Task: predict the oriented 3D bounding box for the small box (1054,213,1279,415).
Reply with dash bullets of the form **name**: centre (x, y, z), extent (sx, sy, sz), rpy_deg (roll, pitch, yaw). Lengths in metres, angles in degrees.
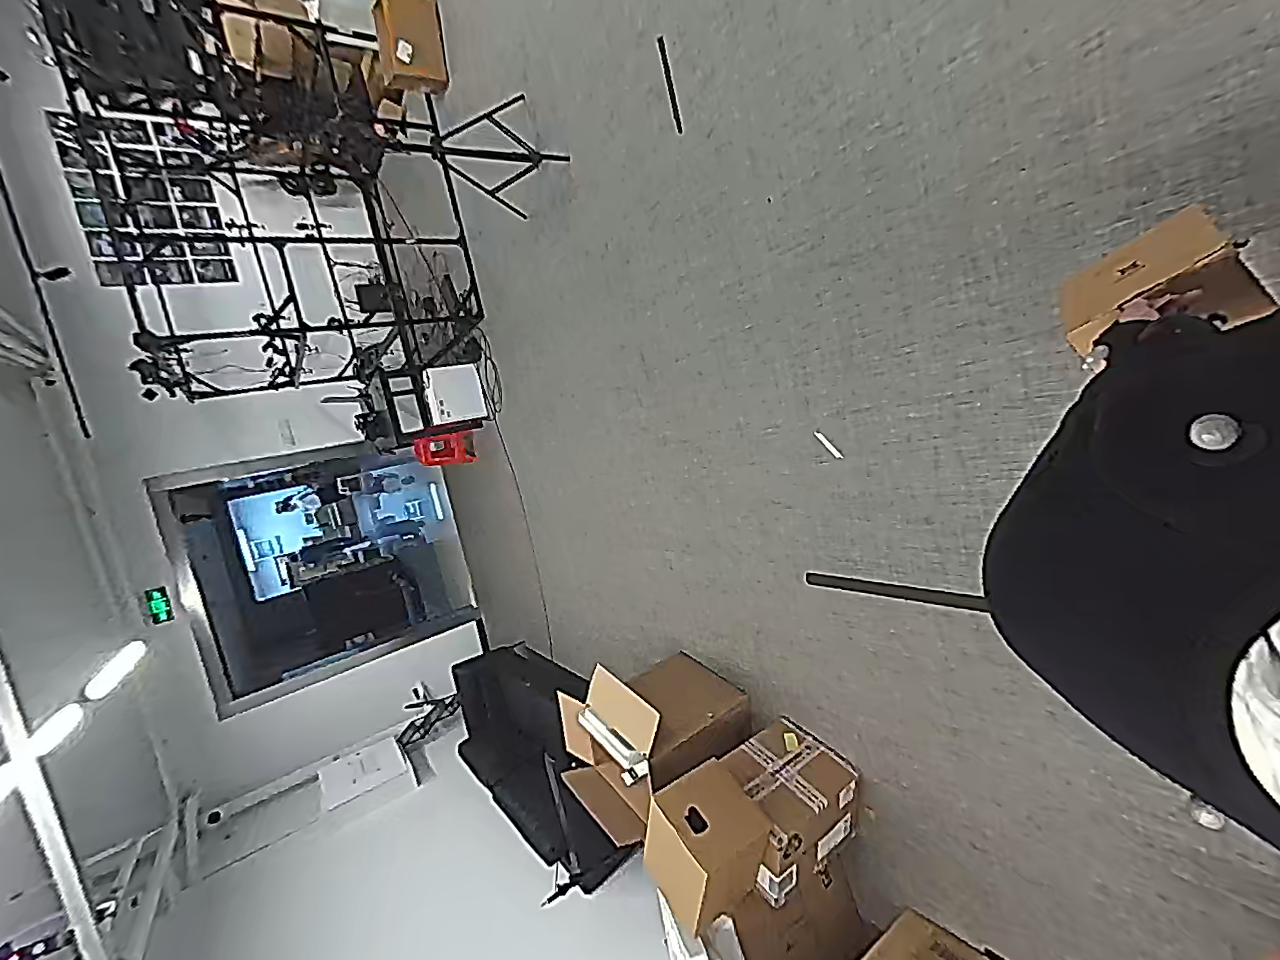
- **small box**: centre (0.696, -0.211, 0.722), extent (0.176, 0.179, 0.168), rpy_deg (45, 138, -7)
